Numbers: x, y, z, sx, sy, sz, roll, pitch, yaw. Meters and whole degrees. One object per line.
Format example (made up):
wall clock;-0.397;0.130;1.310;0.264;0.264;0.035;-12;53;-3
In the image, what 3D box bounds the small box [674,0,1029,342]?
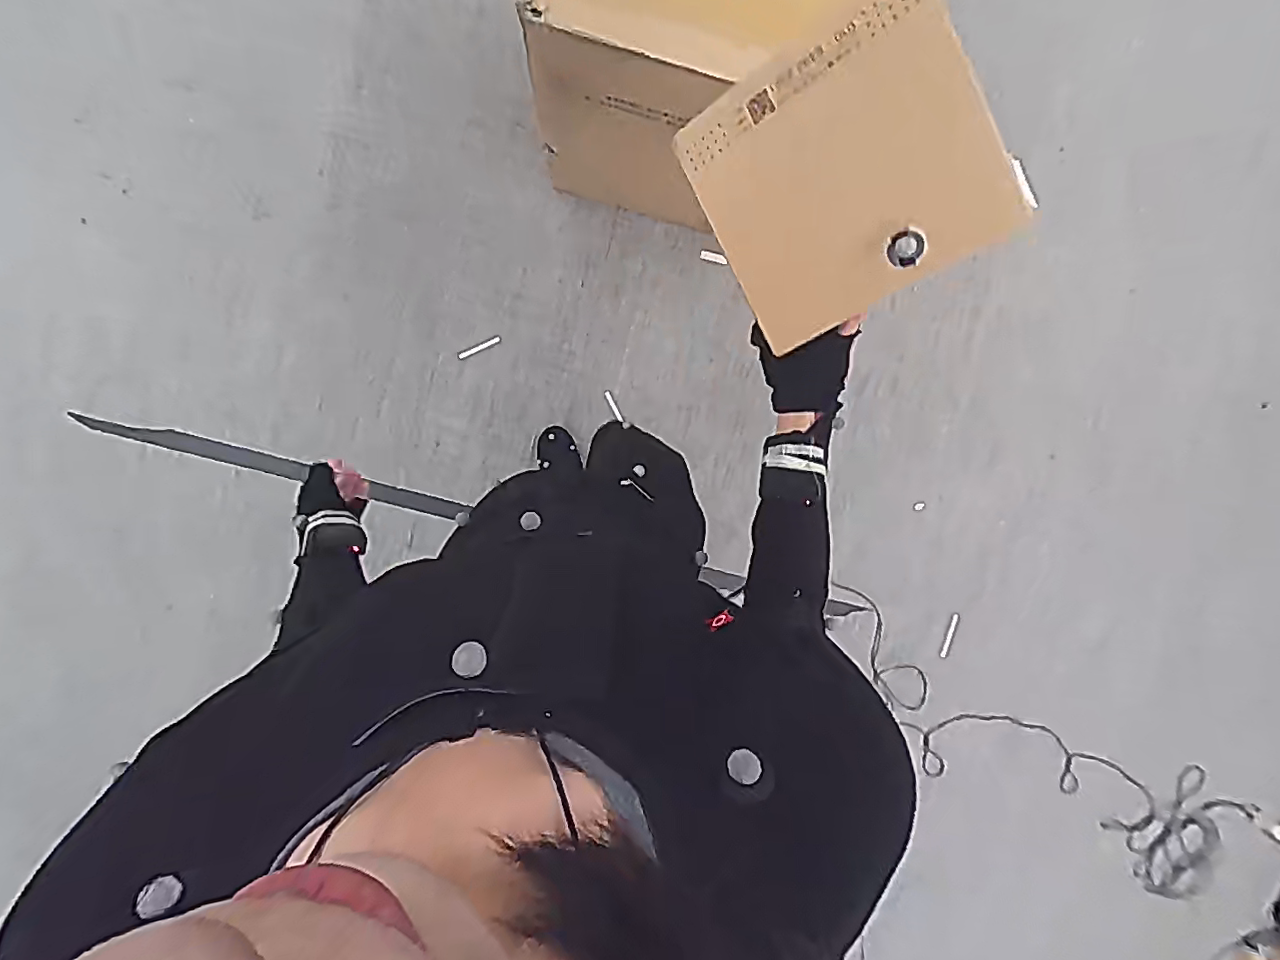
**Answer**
small box;0.151;-0.225;0.413;0.168;0.179;0.176;-26;95;27
